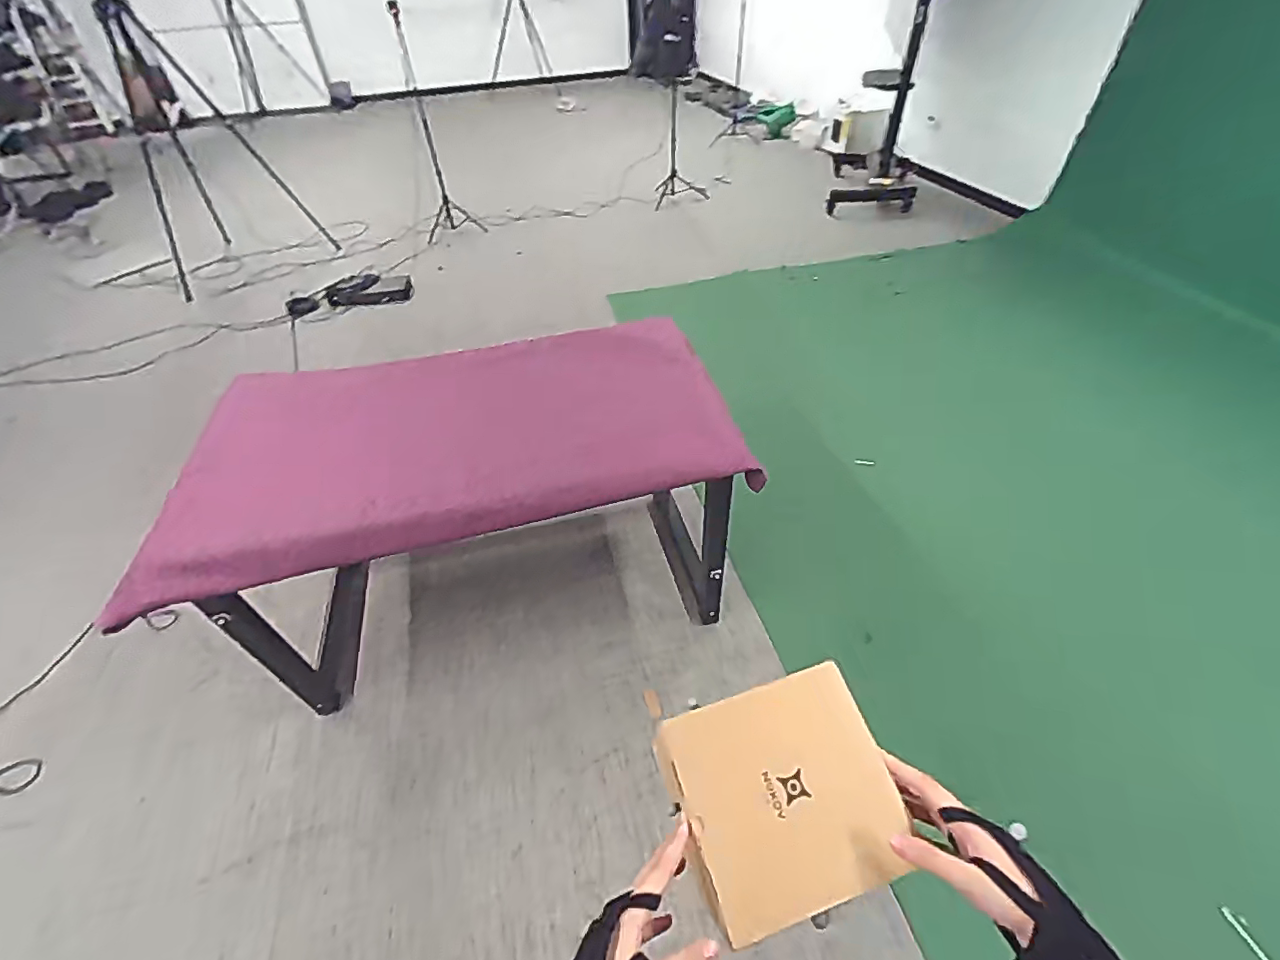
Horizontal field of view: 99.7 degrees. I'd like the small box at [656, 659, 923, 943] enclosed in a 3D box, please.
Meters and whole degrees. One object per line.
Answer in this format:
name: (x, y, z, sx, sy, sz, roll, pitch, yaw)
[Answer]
small box: (0.122, 0.297, 0.526, 0.179, 0.176, 0.168, -18, 61, -9)
